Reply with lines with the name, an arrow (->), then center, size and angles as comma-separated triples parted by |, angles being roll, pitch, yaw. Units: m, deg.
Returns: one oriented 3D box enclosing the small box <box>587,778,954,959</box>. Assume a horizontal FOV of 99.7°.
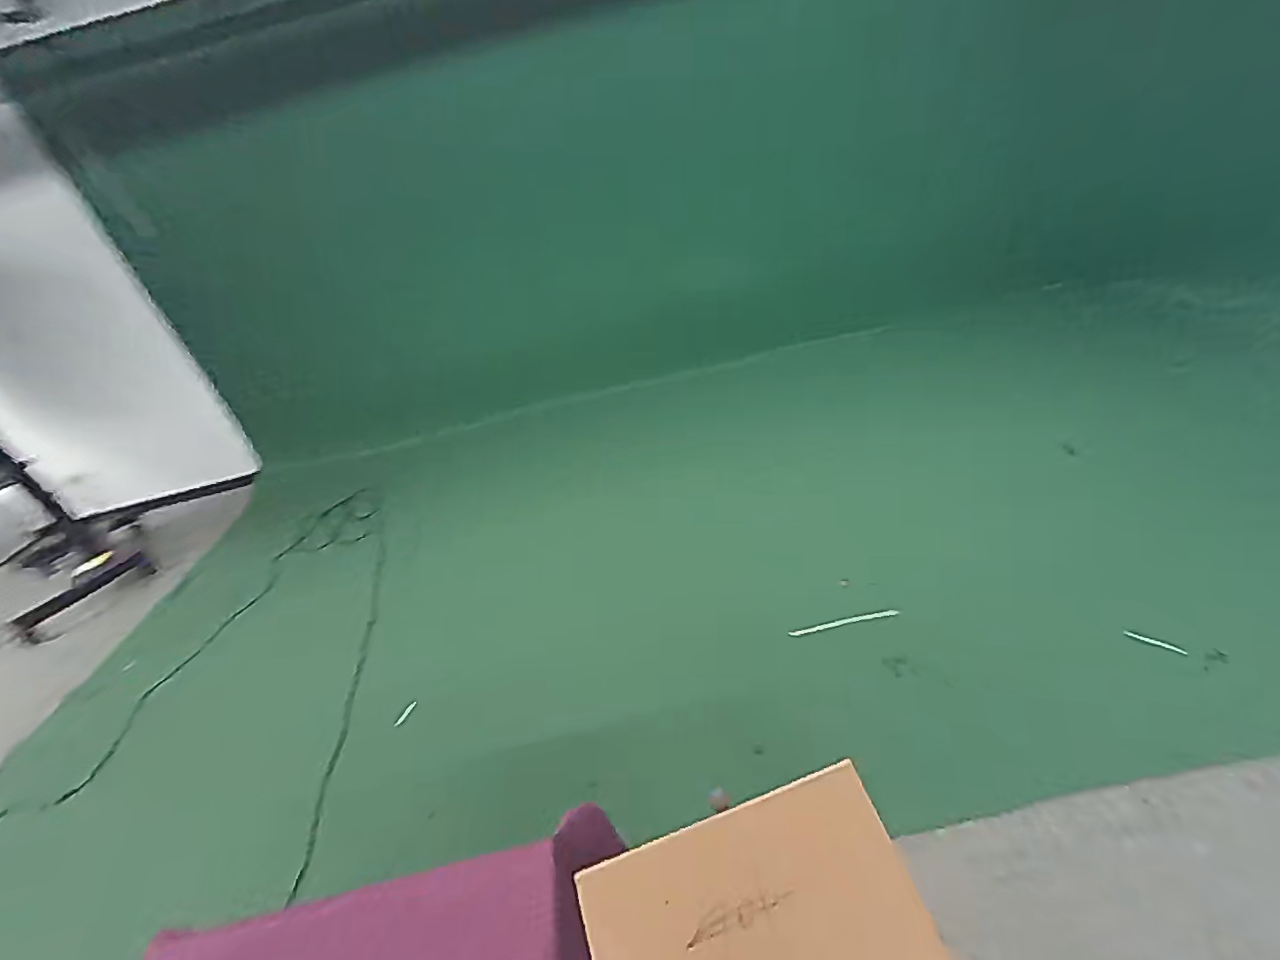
small box -> 0.077, 0.298, 0.313 | 0.168, 0.176, 0.179 | -16, 57, -9
